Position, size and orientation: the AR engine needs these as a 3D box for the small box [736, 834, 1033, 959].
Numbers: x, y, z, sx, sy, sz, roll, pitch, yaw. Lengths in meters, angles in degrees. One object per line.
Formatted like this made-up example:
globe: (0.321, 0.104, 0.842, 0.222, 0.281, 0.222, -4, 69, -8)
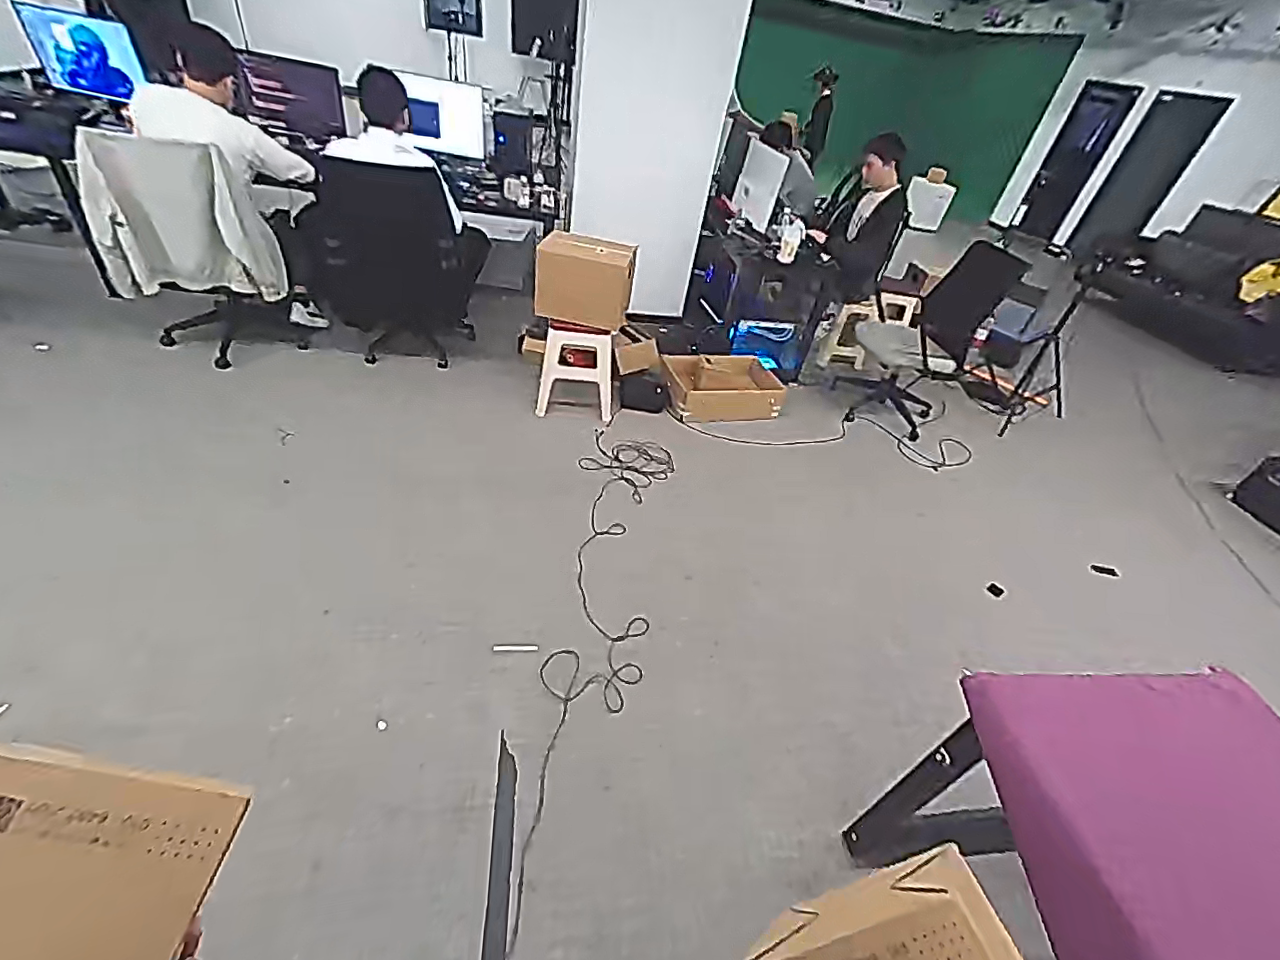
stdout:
small box: (0.190, 0.367, 0.364, 0.168, 0.179, 0.176, -34, 57, 13)
